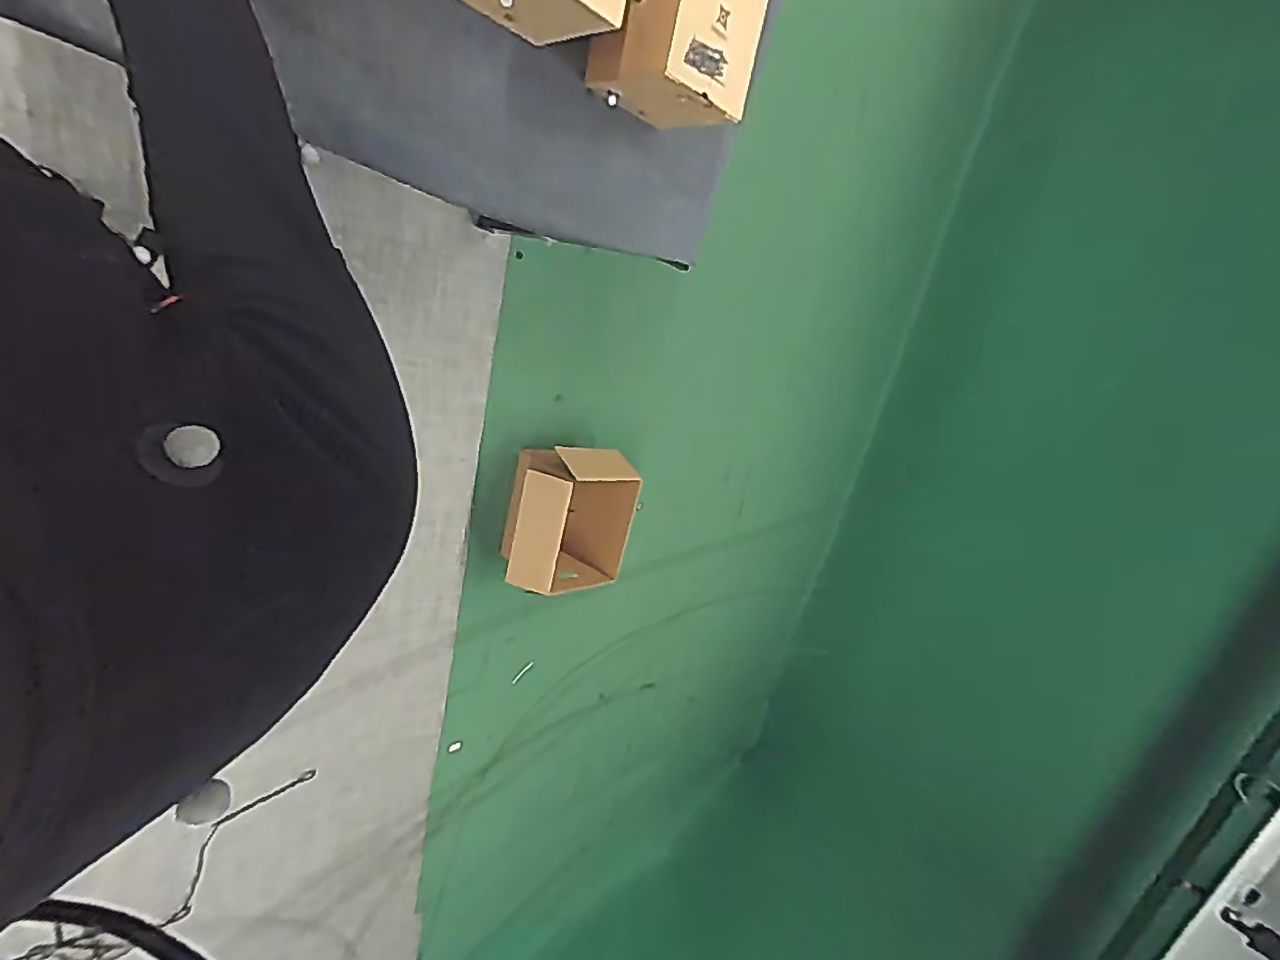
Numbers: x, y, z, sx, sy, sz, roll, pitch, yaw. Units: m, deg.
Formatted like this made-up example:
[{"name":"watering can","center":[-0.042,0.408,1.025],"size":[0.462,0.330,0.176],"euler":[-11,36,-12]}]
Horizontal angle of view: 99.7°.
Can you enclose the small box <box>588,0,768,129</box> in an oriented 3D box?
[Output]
[{"name":"small box","center":[0.047,-0.618,0.756],"size":[0.168,0.176,0.179],"euler":[-6,115,-46]}]

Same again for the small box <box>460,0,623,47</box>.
[{"name":"small box","center":[-0.119,-0.610,0.582],"size":[0.168,0.176,0.179],"euler":[-6,115,-46]}]
